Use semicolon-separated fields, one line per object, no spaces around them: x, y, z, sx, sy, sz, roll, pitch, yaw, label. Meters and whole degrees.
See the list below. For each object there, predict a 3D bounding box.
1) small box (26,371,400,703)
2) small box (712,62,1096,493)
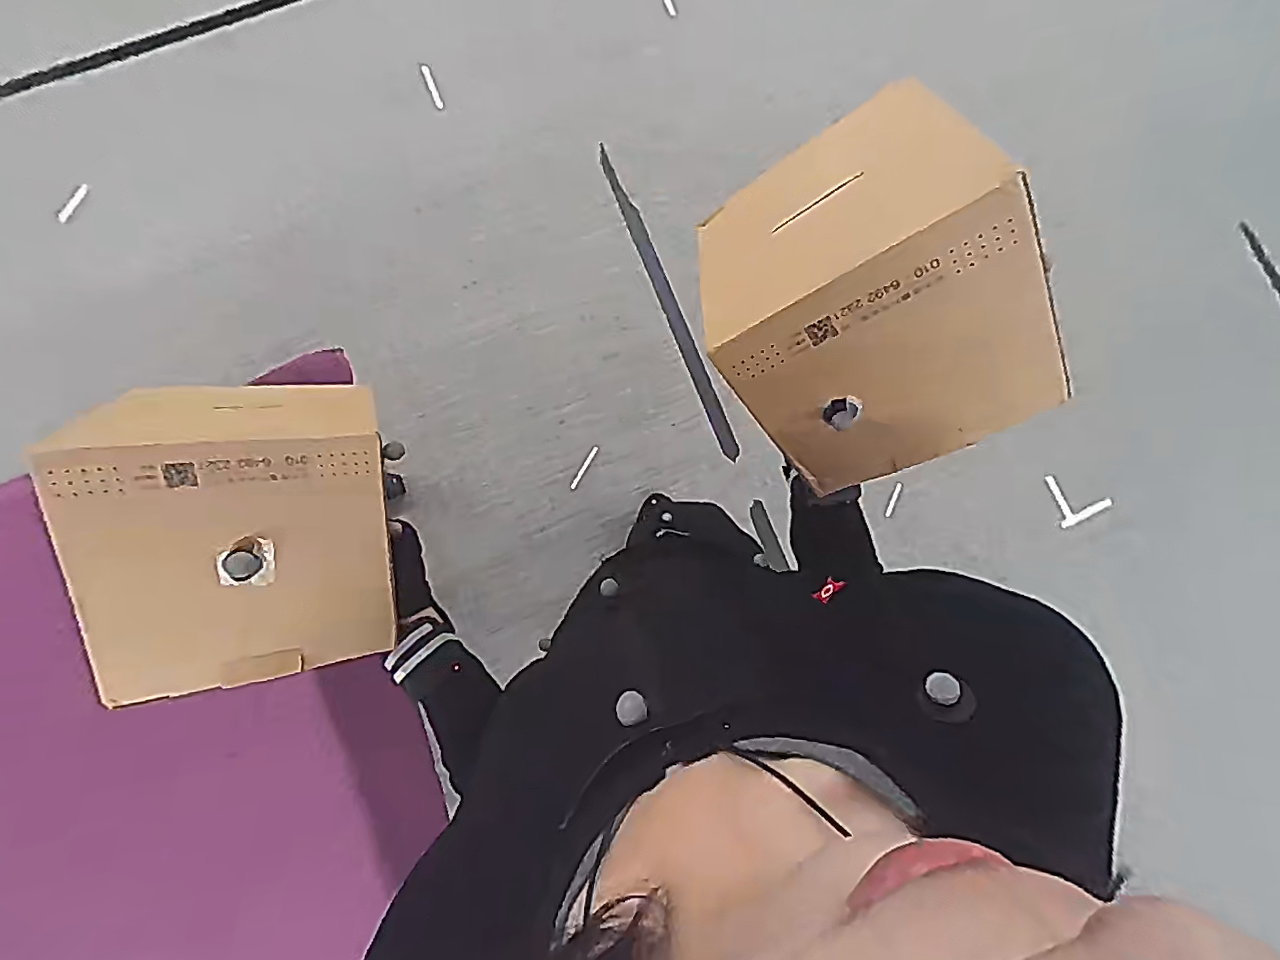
-0.274;0.019;0.391;0.168;0.179;0.176;-4;111;-25;small box
0.161;-0.127;0.364;0.168;0.176;0.179;-23;43;28;small box
